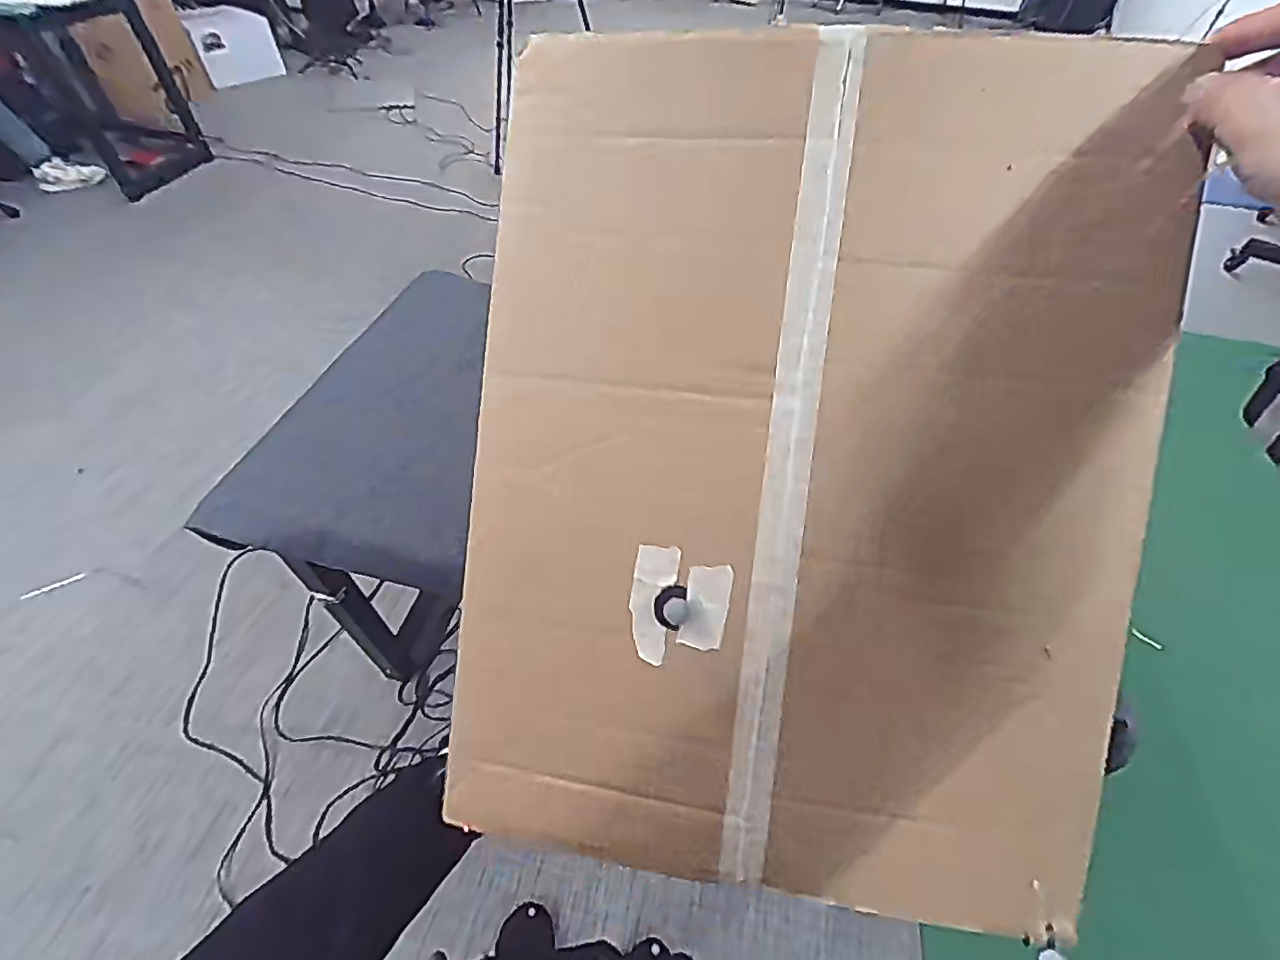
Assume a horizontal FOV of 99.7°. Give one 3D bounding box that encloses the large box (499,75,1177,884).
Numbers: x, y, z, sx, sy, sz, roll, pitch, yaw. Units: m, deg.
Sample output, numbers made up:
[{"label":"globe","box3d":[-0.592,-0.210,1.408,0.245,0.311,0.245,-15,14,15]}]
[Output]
[{"label":"large box","box3d":[0.099,-0.010,0.427,0.320,0.320,0.408,6,95,7]}]
